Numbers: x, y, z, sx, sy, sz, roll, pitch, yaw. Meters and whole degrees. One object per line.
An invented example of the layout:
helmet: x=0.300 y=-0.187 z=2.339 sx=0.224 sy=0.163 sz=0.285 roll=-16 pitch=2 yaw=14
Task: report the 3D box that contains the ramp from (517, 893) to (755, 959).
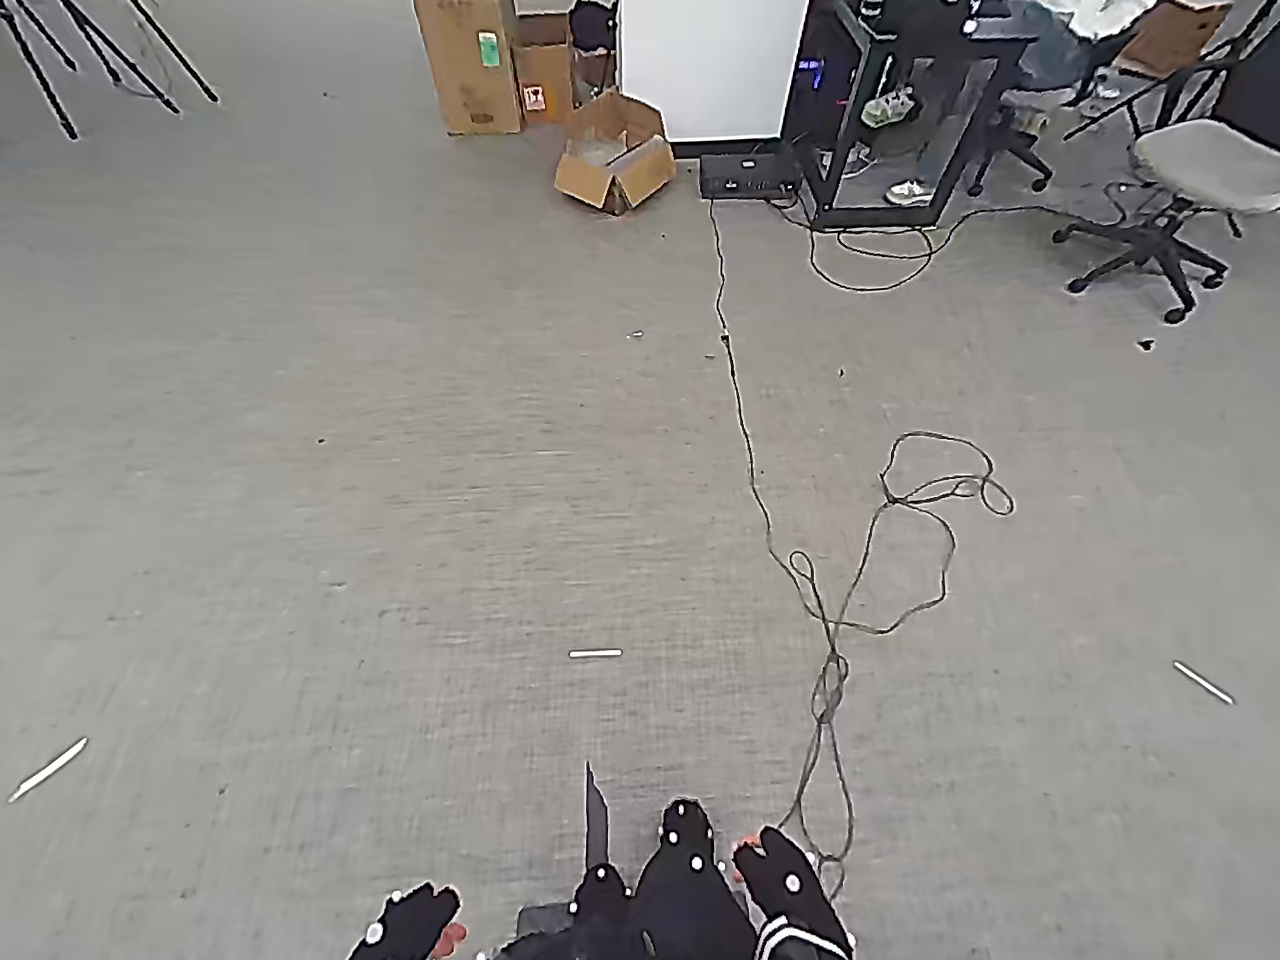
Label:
ramp: x=0.016 y=1.277 z=0.831 sx=0.509 sy=0.206 sz=0.991 roll=-5 pitch=57 yaw=-2
